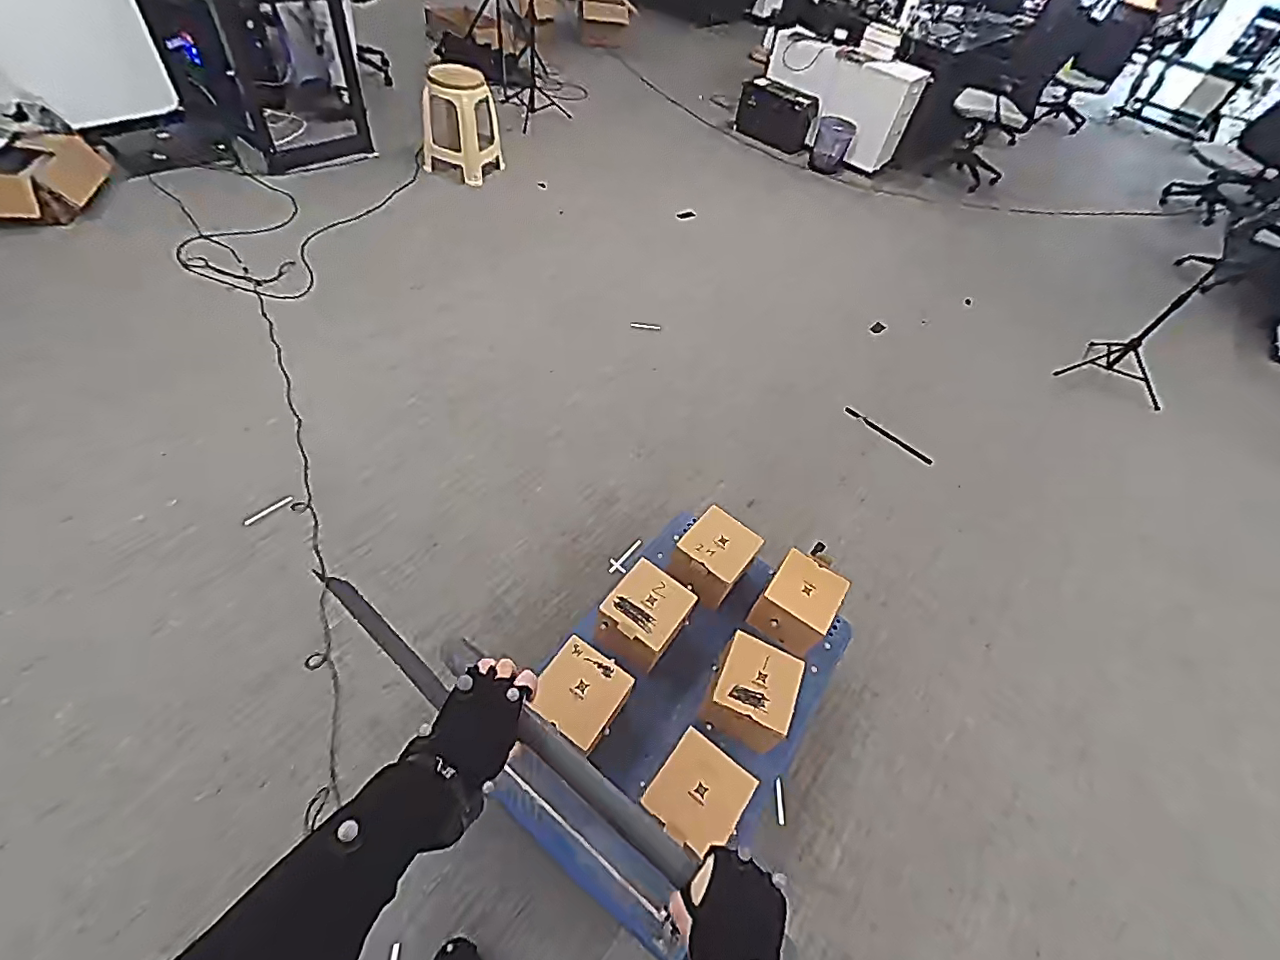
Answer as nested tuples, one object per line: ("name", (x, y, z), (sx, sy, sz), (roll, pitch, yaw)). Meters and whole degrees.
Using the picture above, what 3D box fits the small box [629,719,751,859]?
("small box", (0.093, 0.627, 1.091), (0.168, 0.176, 0.179), (36, 54, 16))

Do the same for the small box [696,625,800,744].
("small box", (0.240, 0.473, 1.236), (0.168, 0.176, 0.179), (26, 52, 9))

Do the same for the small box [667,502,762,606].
("small box", (0.190, 0.198, 1.435), (0.168, 0.176, 0.179), (37, 56, 18))

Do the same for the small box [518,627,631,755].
("small box", (-0.141, 0.461, 1.171), (0.168, 0.176, 0.179), (34, 55, 13))

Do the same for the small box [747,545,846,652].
("small box", (0.394, 0.309, 1.392), (0.168, 0.176, 0.179), (33, 54, 15))
